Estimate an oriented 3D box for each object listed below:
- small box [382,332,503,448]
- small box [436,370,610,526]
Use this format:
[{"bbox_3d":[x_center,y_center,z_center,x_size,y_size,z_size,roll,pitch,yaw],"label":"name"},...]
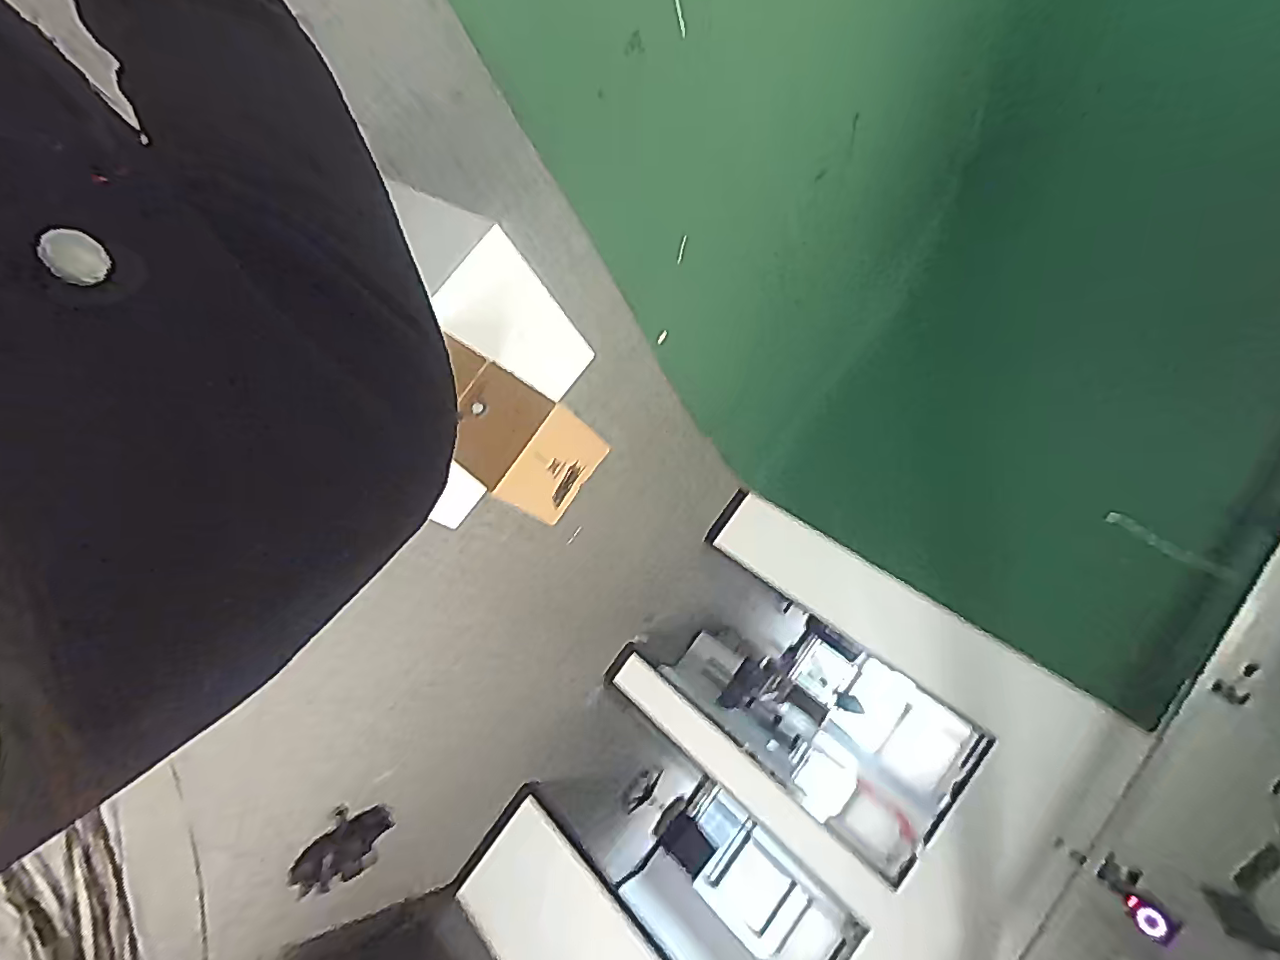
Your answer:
[{"bbox_3d":[-0.306,-0.132,0.950,0.168,0.176,0.179,-55,149,-3],"label":"small box"},{"bbox_3d":[-0.185,-0.052,0.872,0.168,0.176,0.179,-55,151,0],"label":"small box"}]
